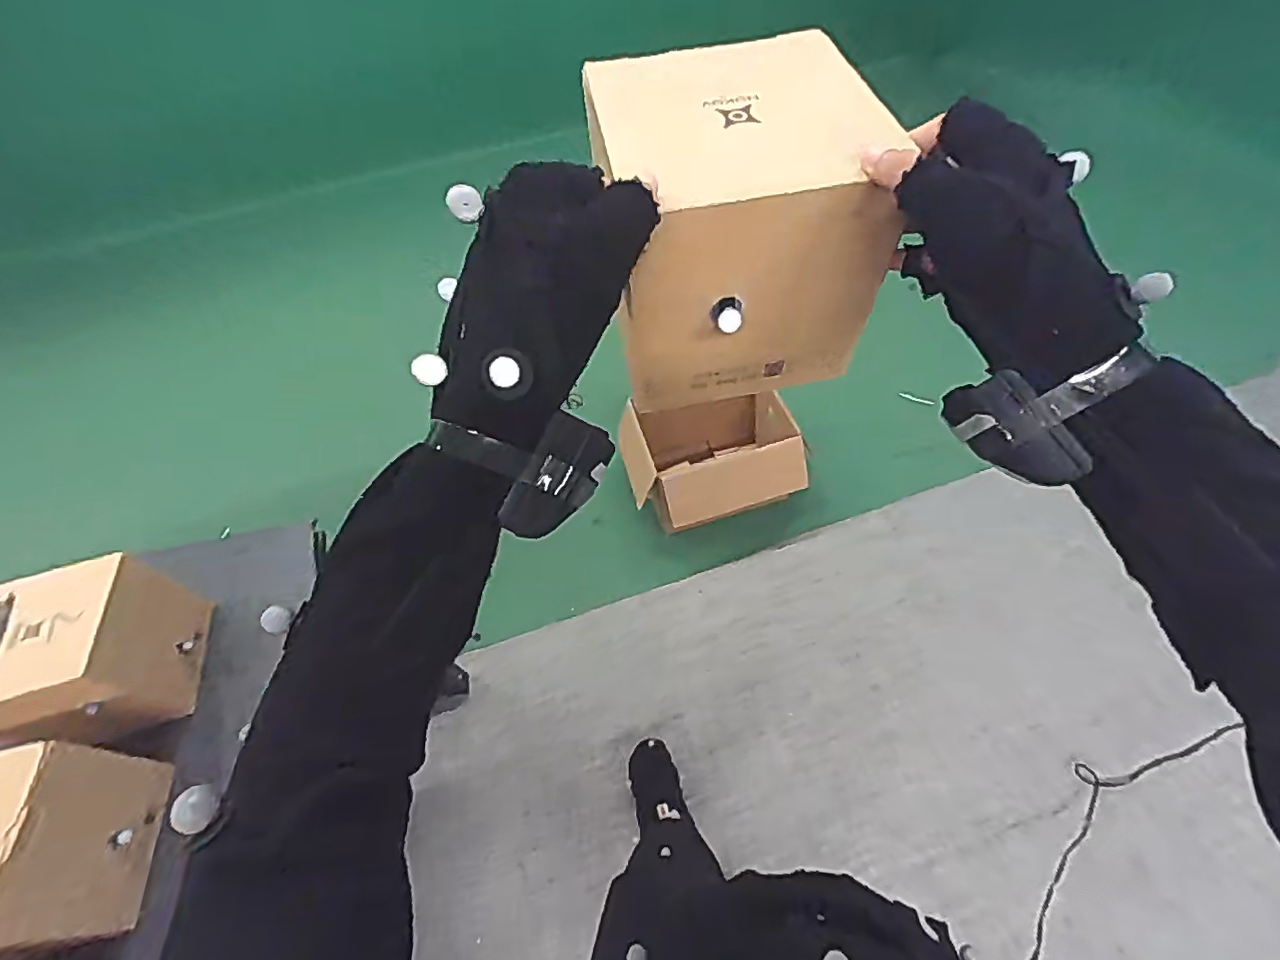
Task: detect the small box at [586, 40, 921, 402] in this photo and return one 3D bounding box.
[{"bbox_3d":[0.062,-0.173,0.393,0.168,0.176,0.179,-10,58,-2],"label":"small box"}]
